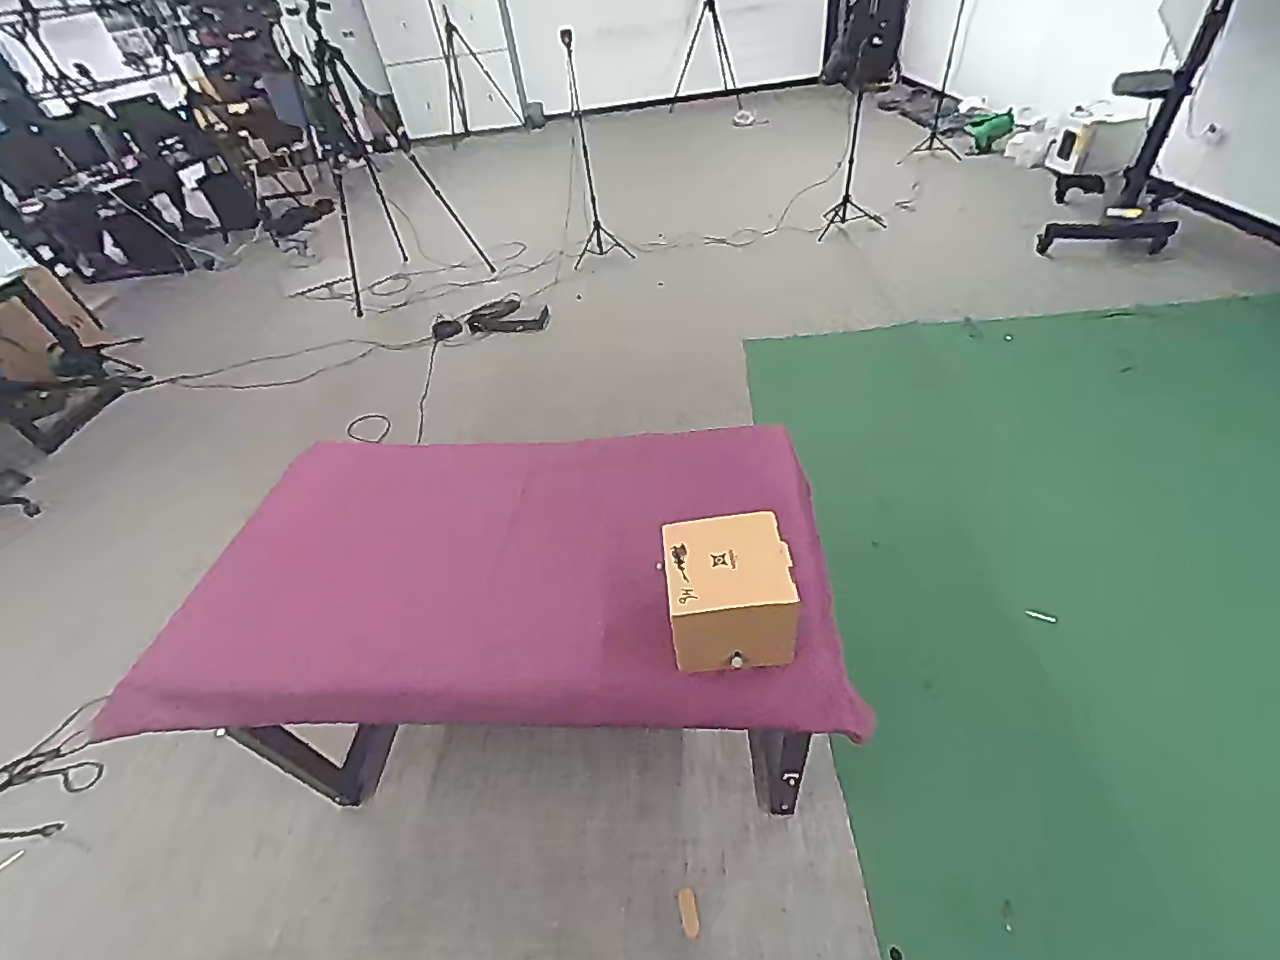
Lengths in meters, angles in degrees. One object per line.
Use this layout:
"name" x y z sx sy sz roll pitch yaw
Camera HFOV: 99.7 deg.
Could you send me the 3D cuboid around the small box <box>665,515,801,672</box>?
"small box" 0.135 0.175 0.829 0.179 0.176 0.168 -7 43 4
